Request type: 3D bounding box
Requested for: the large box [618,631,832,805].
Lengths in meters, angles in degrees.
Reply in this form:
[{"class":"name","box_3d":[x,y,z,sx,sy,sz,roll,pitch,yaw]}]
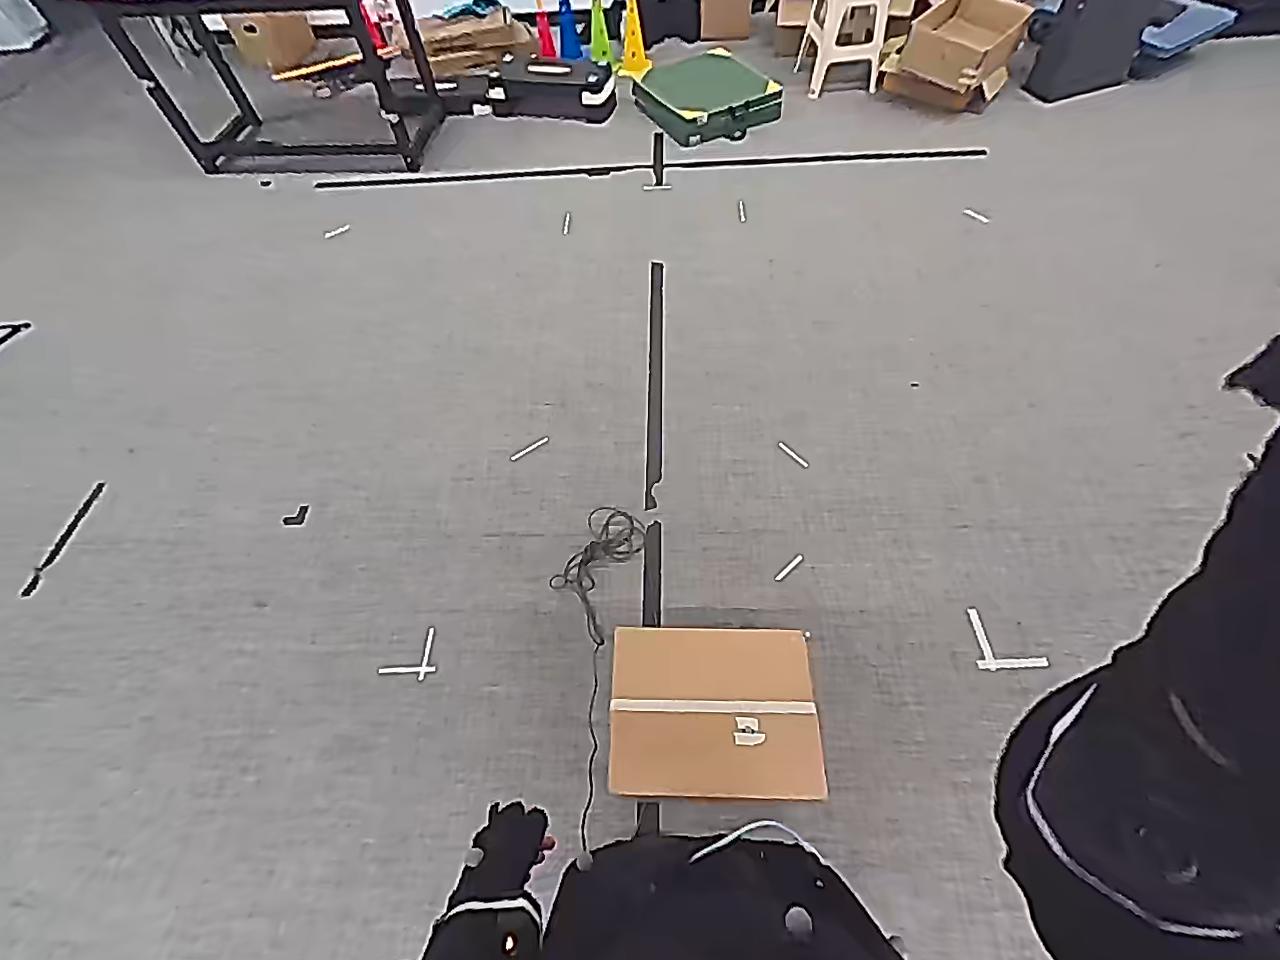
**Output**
[{"class":"large box","box_3d":[0.161,0.536,1.201,0.408,0.320,0.320,1,58,2]}]
